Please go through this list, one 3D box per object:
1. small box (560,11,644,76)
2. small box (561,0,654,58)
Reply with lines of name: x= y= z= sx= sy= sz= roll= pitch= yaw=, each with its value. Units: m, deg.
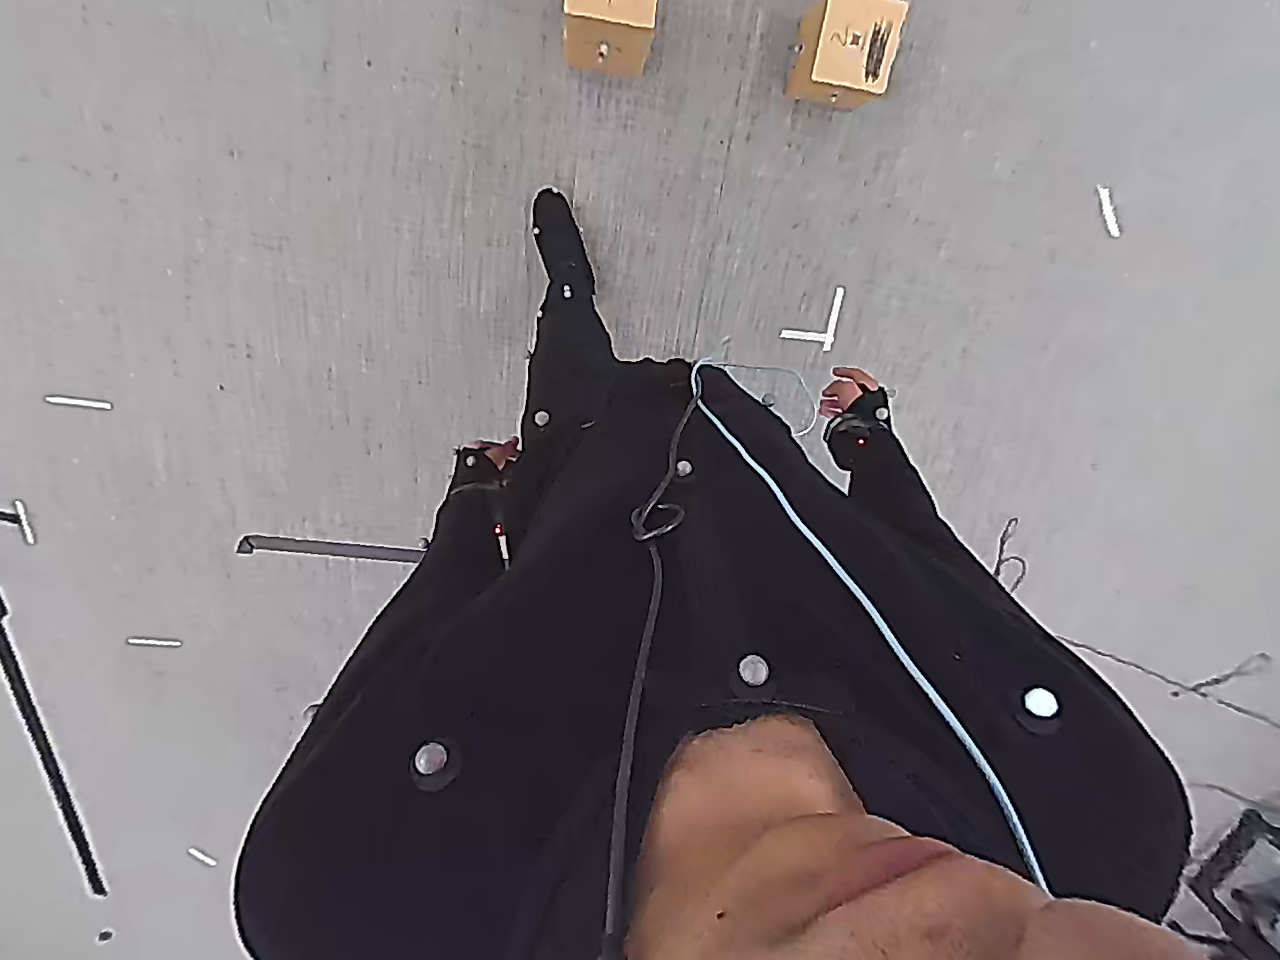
small box: x=-0.075 y=-0.995 z=1.159 sx=0.179 sy=0.176 sz=0.168 roll=5 pitch=113 yaw=-7
small box: x=-0.056 y=-0.932 z=1.009 sx=0.168 sy=0.176 sz=0.179 roll=5 pitch=114 yaw=-7
